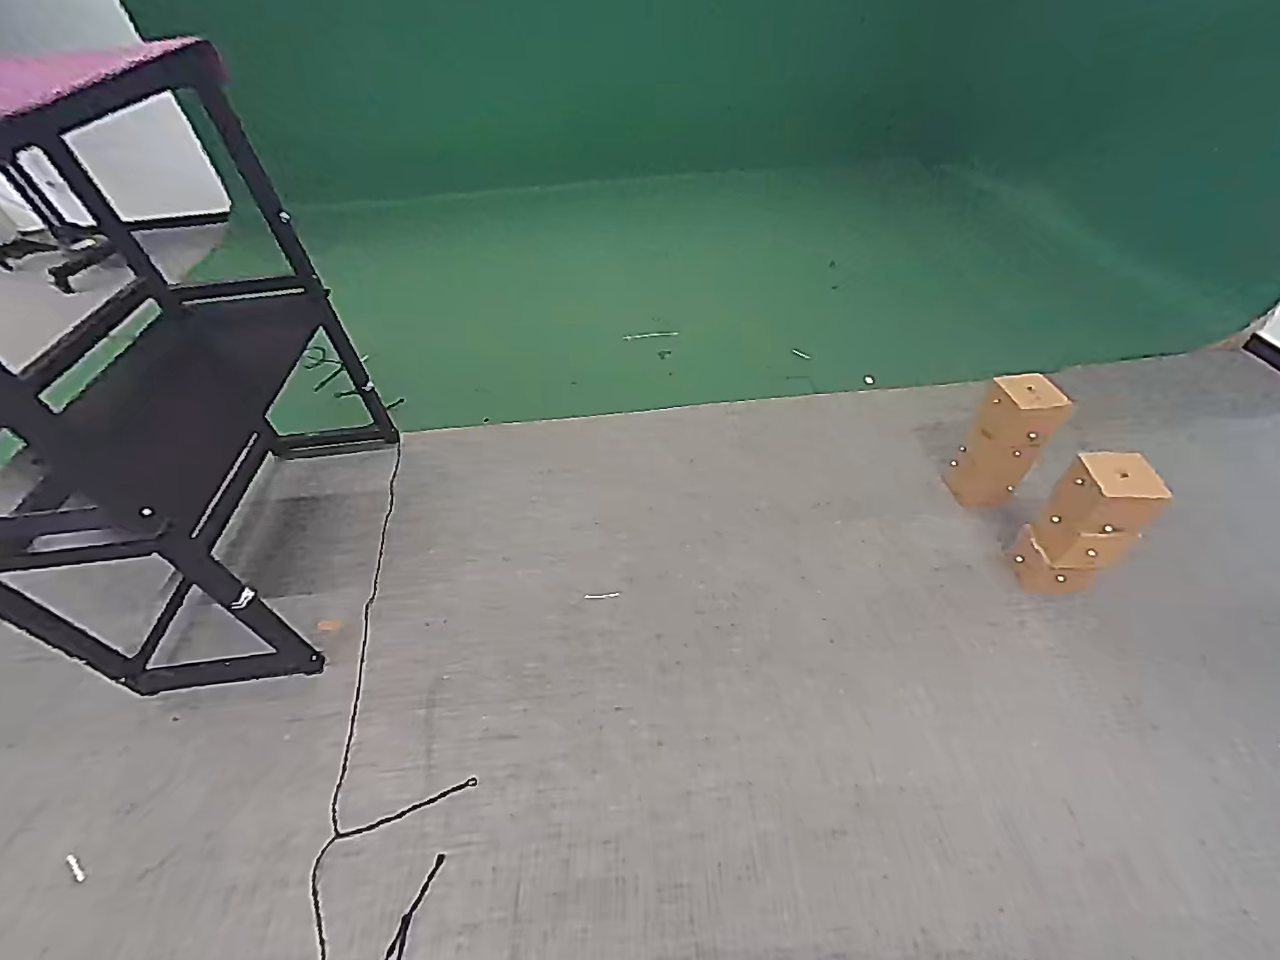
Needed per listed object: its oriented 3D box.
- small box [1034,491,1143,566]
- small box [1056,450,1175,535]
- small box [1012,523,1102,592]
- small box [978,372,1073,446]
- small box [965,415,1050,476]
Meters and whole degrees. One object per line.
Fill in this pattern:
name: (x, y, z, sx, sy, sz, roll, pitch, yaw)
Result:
small box: (1.363, 0.150, 1.658, 0.168, 0.176, 0.179, -1, 46, 4)
small box: (1.342, 0.036, 1.545, 0.168, 0.176, 0.179, 1, 47, 8)
small box: (1.366, 0.256, 1.783, 0.179, 0.176, 0.168, -1, 47, 6)
small box: (1.275, -0.237, 1.807, 0.168, 0.176, 0.179, -6, 47, -1)
small box: (1.296, -0.129, 1.931, 0.179, 0.176, 0.168, -6, 47, -2)
